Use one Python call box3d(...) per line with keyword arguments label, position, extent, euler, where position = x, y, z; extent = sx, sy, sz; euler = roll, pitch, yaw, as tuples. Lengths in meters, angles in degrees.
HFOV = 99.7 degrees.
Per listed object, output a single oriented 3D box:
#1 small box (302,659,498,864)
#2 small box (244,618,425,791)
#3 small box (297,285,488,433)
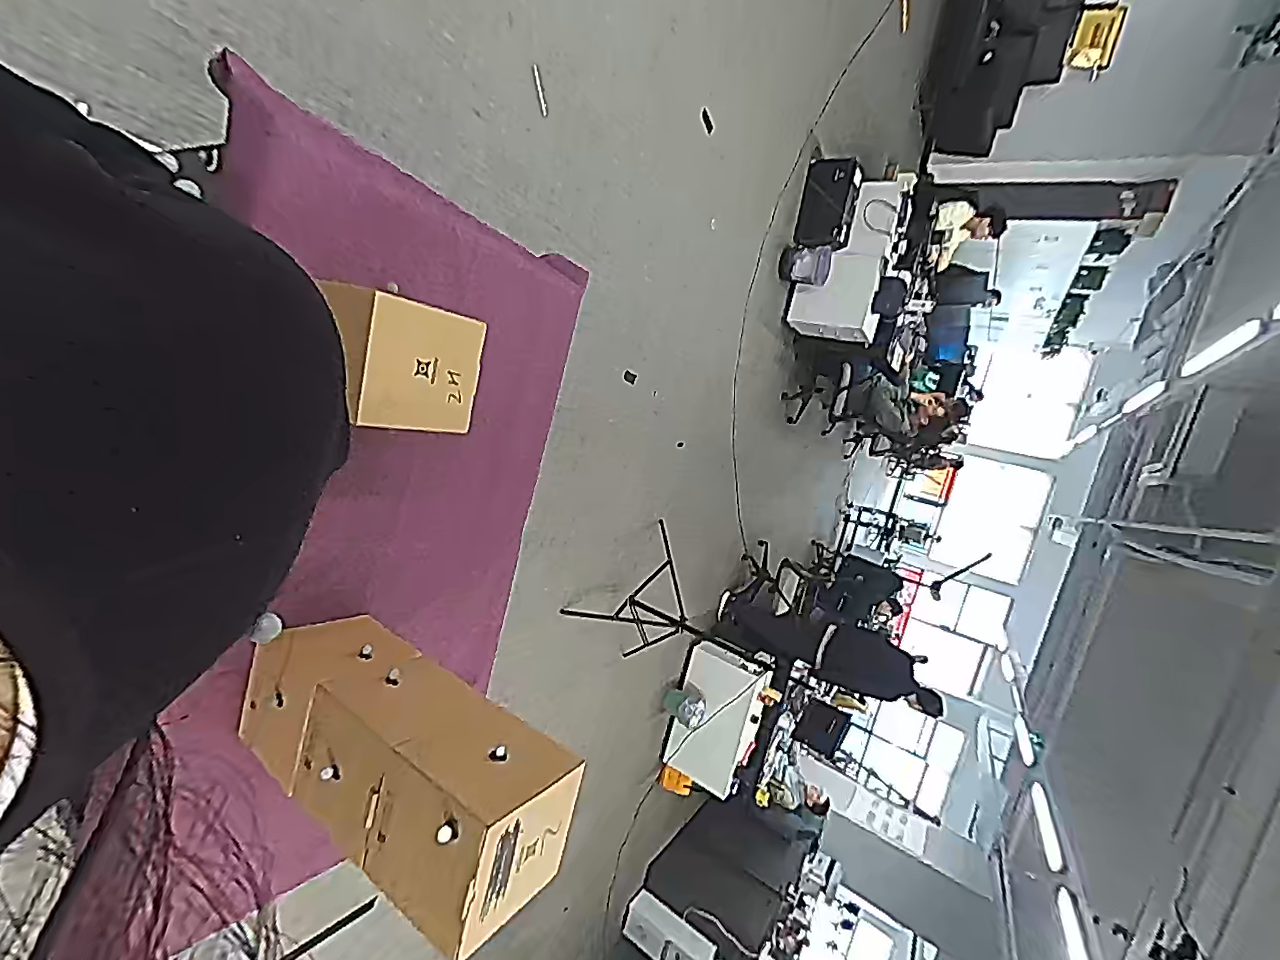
box3d(label="small box", position=(-0.336, 0.374, 0.760), extent=(0.179, 0.176, 0.168), euler=(8, 98, -59))
box3d(label="small box", position=(-0.474, 0.331, 0.838), extent=(0.179, 0.176, 0.168), euler=(6, 100, -60))
box3d(label="small box", position=(-0.351, -0.169, 0.767), extent=(0.179, 0.176, 0.168), euler=(-2, 107, -59))
